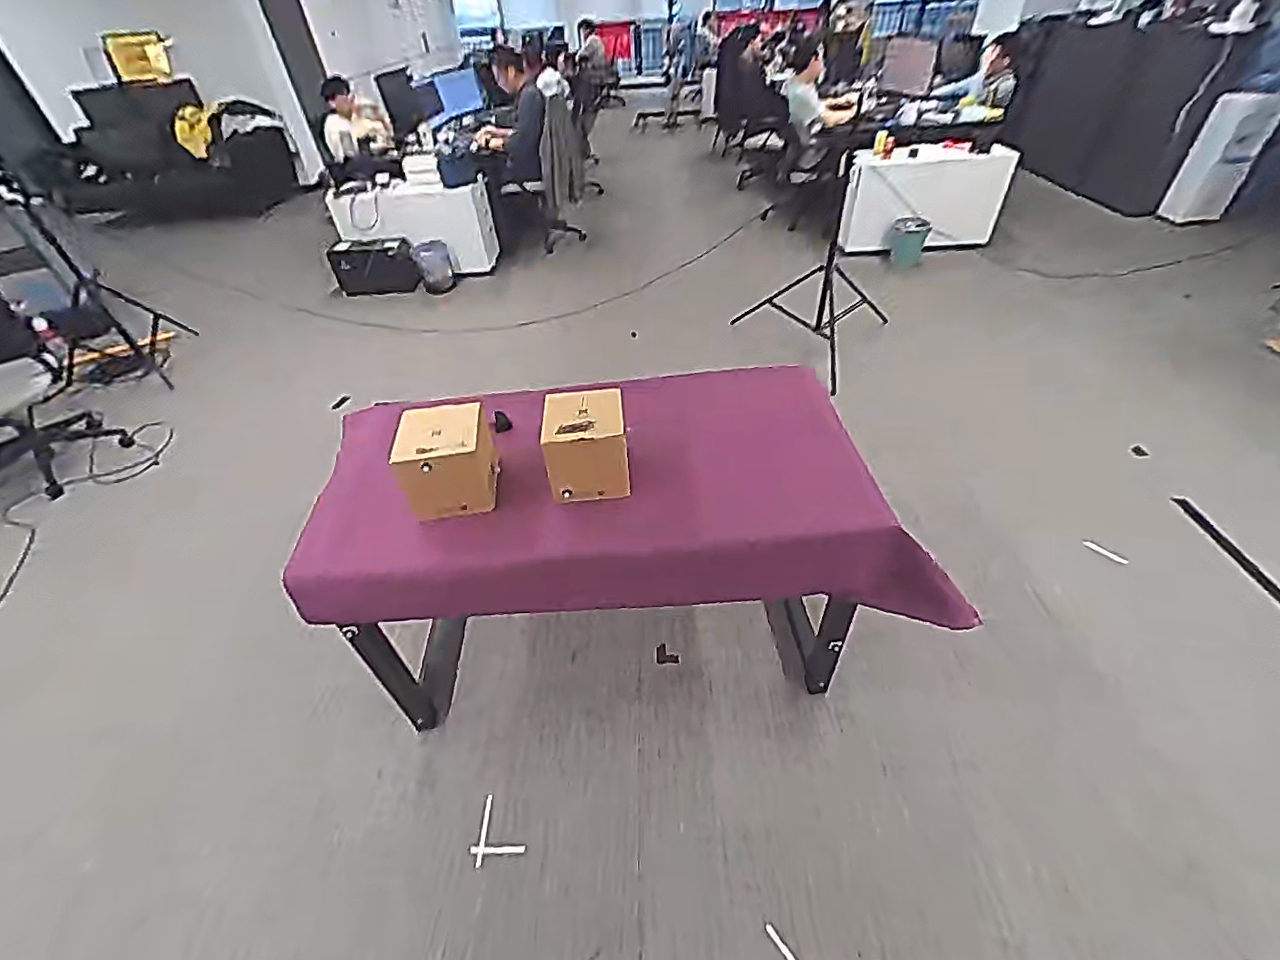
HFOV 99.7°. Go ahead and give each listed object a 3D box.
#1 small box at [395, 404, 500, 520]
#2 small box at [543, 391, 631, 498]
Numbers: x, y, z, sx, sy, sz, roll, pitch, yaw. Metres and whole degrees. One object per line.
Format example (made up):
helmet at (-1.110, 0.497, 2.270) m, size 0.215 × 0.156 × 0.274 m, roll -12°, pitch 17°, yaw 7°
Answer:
small box at (-0.402, -0.039, 1.162) m, size 0.168 × 0.176 × 0.179 m, roll -9°, pitch 41°, yaw -5°
small box at (-0.109, -0.072, 1.176) m, size 0.168 × 0.176 × 0.179 m, roll -5°, pitch 41°, yaw -1°
